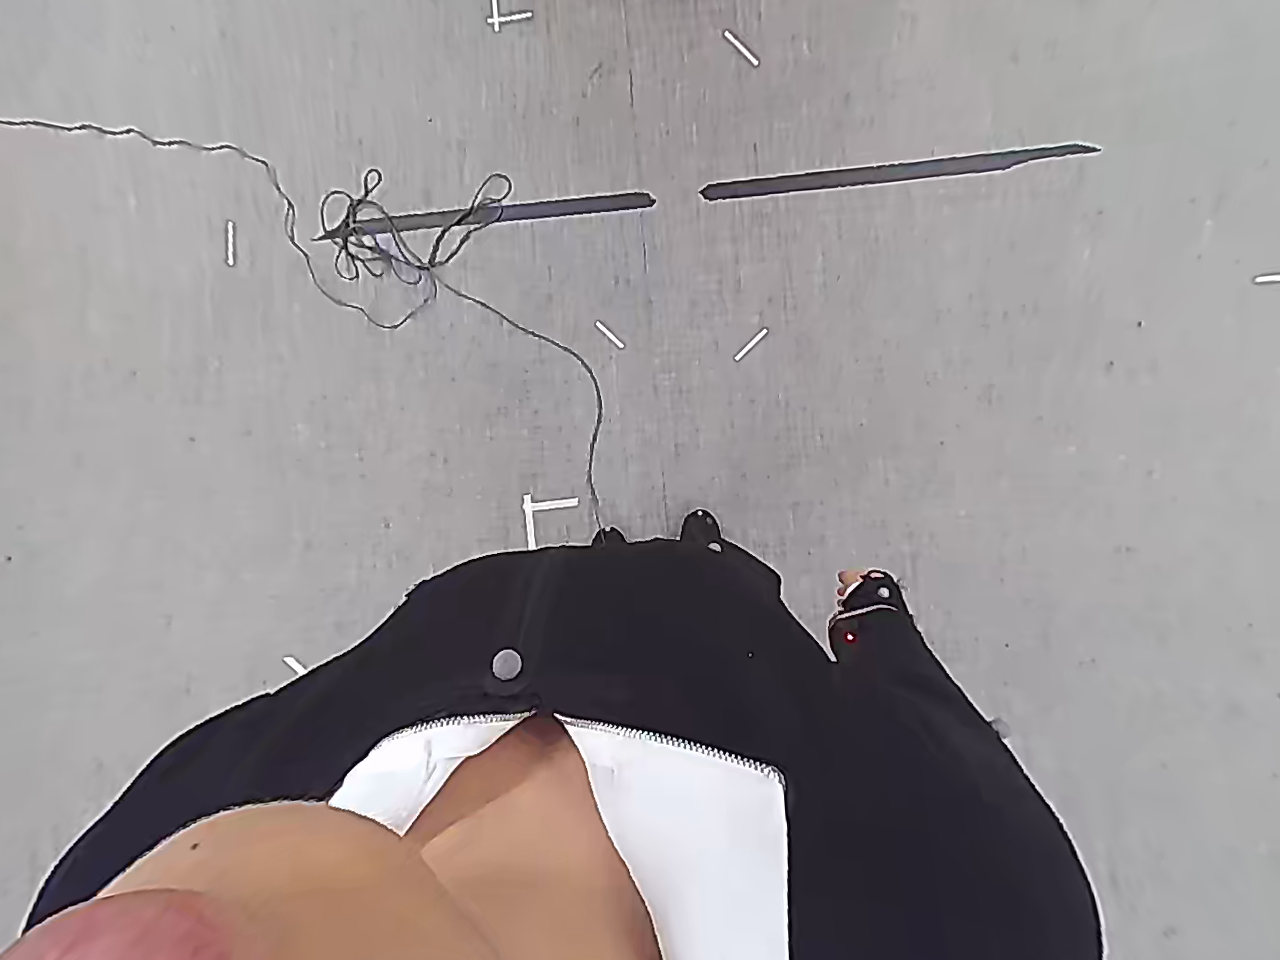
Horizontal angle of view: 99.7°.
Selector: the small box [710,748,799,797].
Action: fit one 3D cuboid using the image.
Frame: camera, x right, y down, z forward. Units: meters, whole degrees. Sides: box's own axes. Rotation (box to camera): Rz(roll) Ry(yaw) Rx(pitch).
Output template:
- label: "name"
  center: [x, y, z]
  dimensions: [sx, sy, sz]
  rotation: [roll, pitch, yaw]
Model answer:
- label: "small box"
  center: [0.251, 0.681, 1.177]
  dimensions: [0.179, 0.176, 0.168]
  rotation: [-8, 86, 4]
